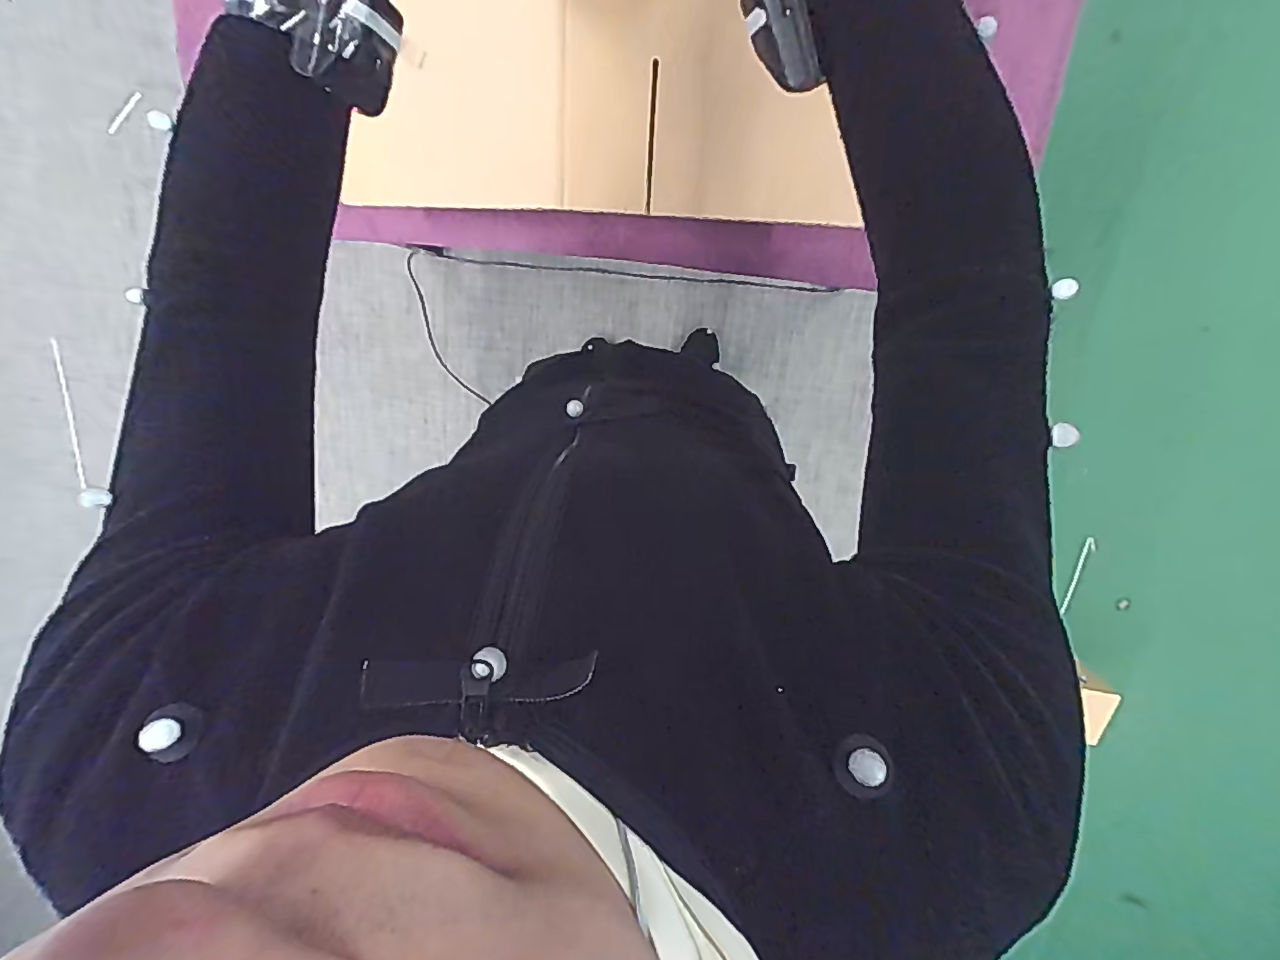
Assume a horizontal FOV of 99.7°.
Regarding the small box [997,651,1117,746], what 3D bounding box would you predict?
[{"bbox_3d":[1.159,0.607,1.517,0.179,0.176,0.168,12,106,0],"label":"small box"}]
